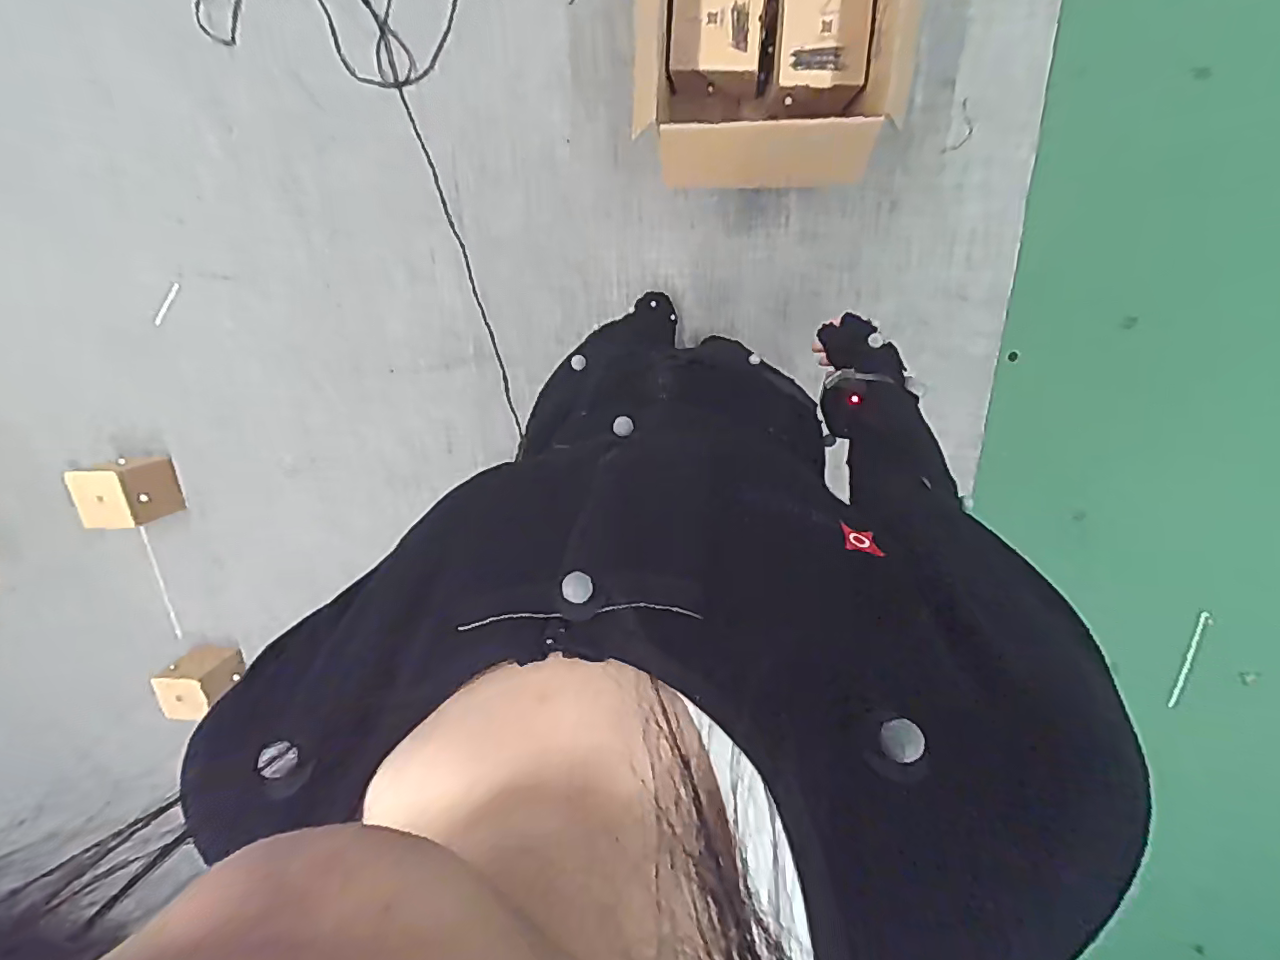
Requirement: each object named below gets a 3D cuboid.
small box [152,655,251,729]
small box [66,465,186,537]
[{"bbox_3d":[-1.468,0.707,1.819,0.179,0.176,0.168,-1,109,6],"label":"small box"},{"bbox_3d":[-1.517,0.056,1.608,0.168,0.176,0.179,-1,109,6],"label":"small box"}]
